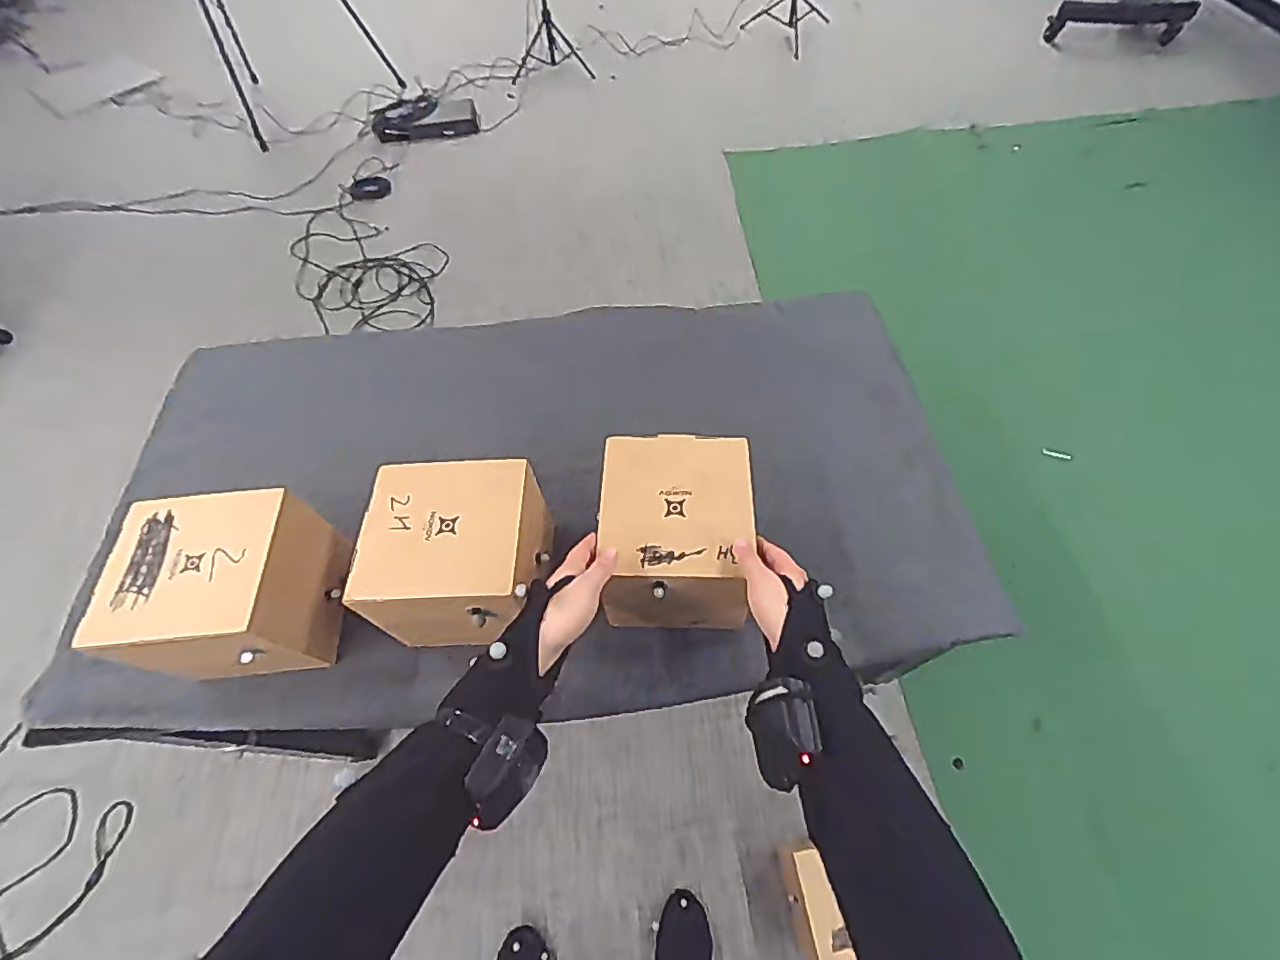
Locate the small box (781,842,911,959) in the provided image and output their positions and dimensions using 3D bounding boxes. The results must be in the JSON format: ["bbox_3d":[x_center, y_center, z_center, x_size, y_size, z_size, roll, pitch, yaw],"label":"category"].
[{"bbox_3d":[0.382,0.811,1.035,0.168,0.176,0.179,-8,58,-1],"label":"small box"}]
